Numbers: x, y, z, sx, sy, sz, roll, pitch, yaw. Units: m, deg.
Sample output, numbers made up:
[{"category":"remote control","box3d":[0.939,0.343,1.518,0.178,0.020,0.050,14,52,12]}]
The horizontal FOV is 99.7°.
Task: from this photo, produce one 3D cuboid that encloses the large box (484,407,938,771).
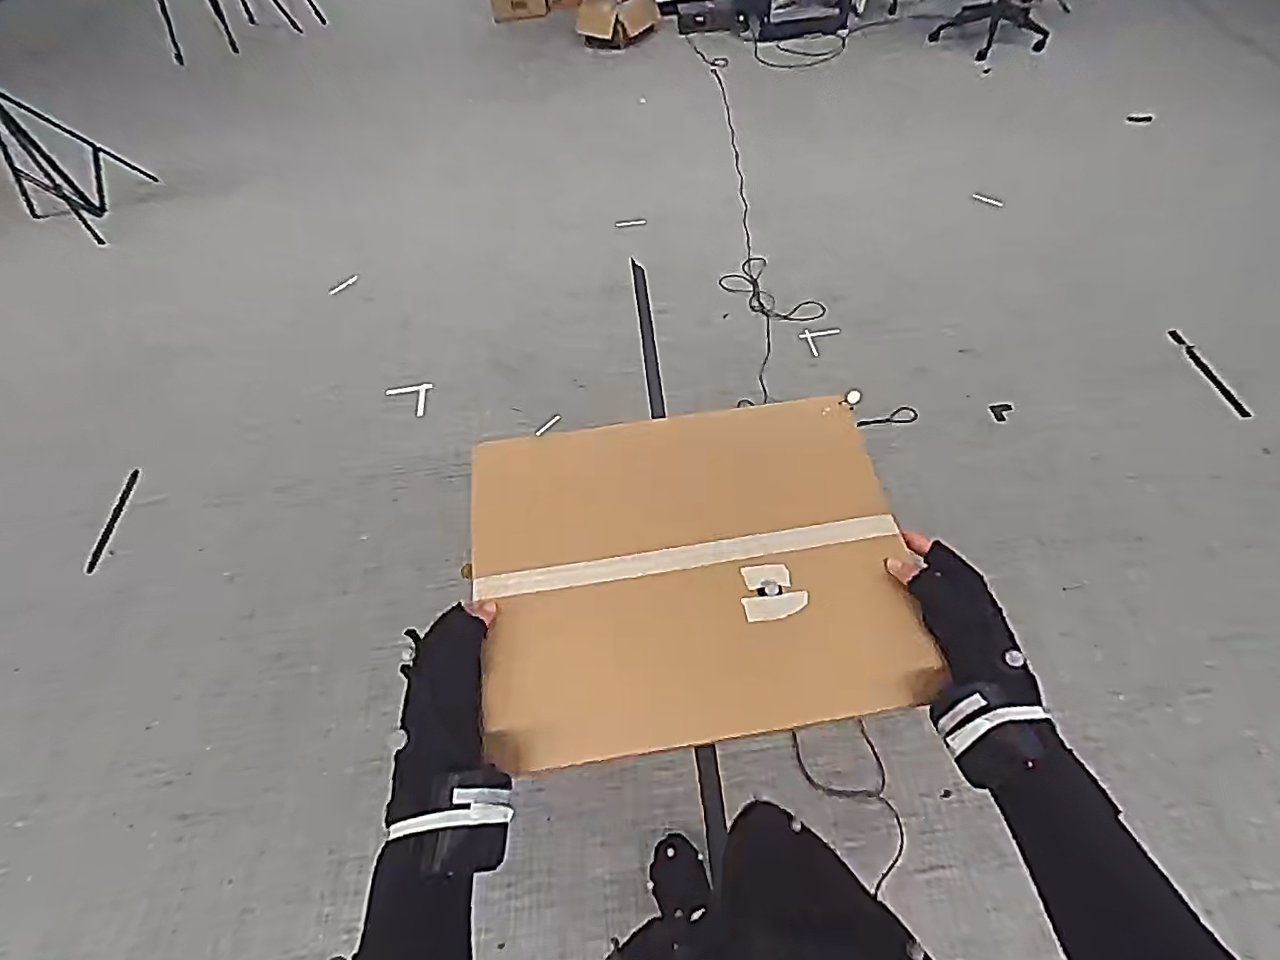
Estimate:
[{"category":"large box","box3d":[0.050,0.147,0.668,0.408,0.320,0.320,-8,65,-4]}]
